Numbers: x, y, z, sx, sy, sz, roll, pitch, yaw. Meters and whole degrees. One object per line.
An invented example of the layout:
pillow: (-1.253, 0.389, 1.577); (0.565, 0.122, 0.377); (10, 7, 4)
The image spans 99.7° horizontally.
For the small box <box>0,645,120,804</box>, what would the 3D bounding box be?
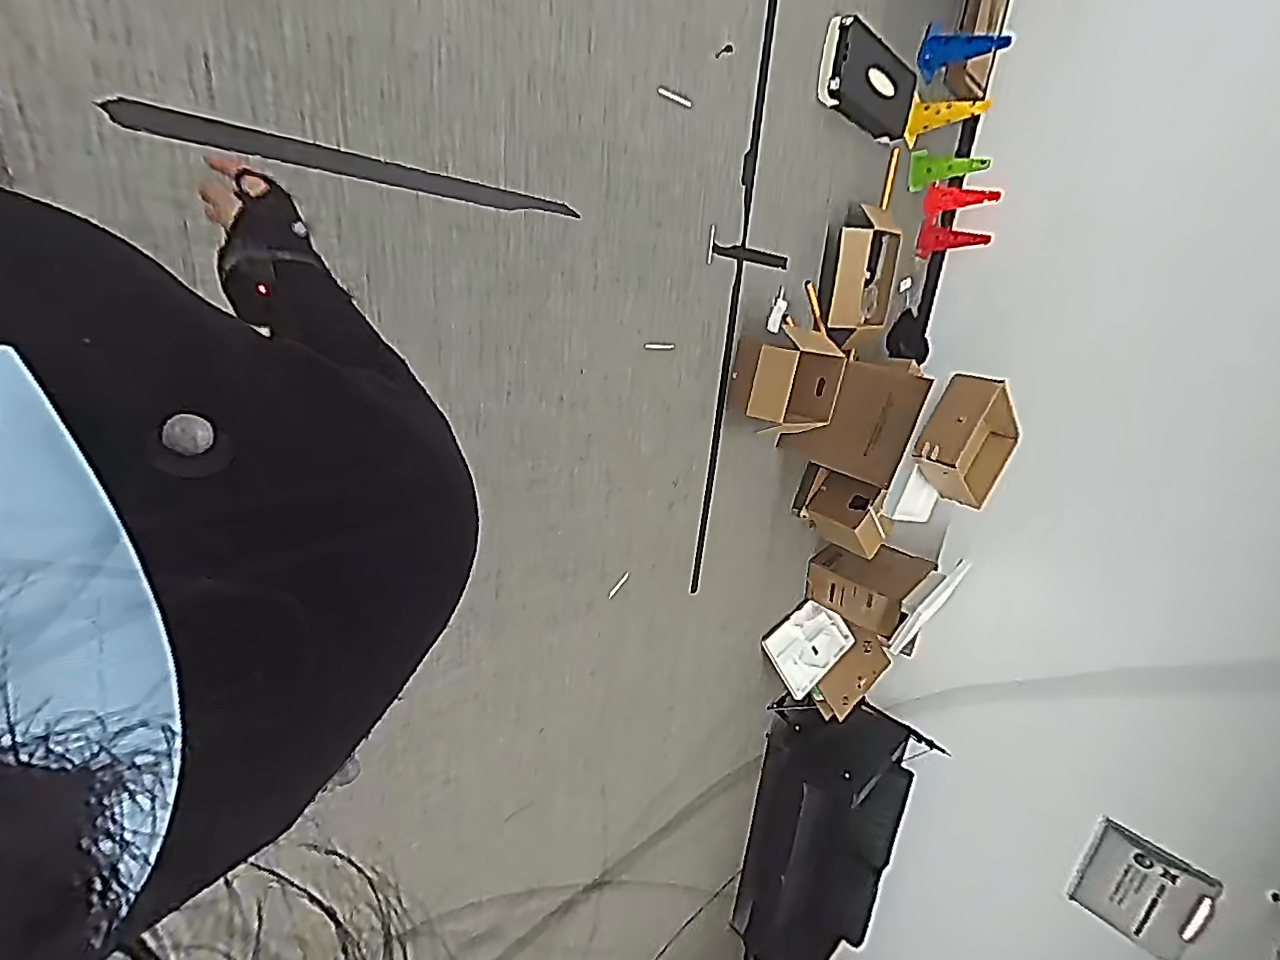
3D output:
small box: (-1.068, 0.434, 0.985); (0.168, 0.176, 0.179); (-6, 111, -45)
